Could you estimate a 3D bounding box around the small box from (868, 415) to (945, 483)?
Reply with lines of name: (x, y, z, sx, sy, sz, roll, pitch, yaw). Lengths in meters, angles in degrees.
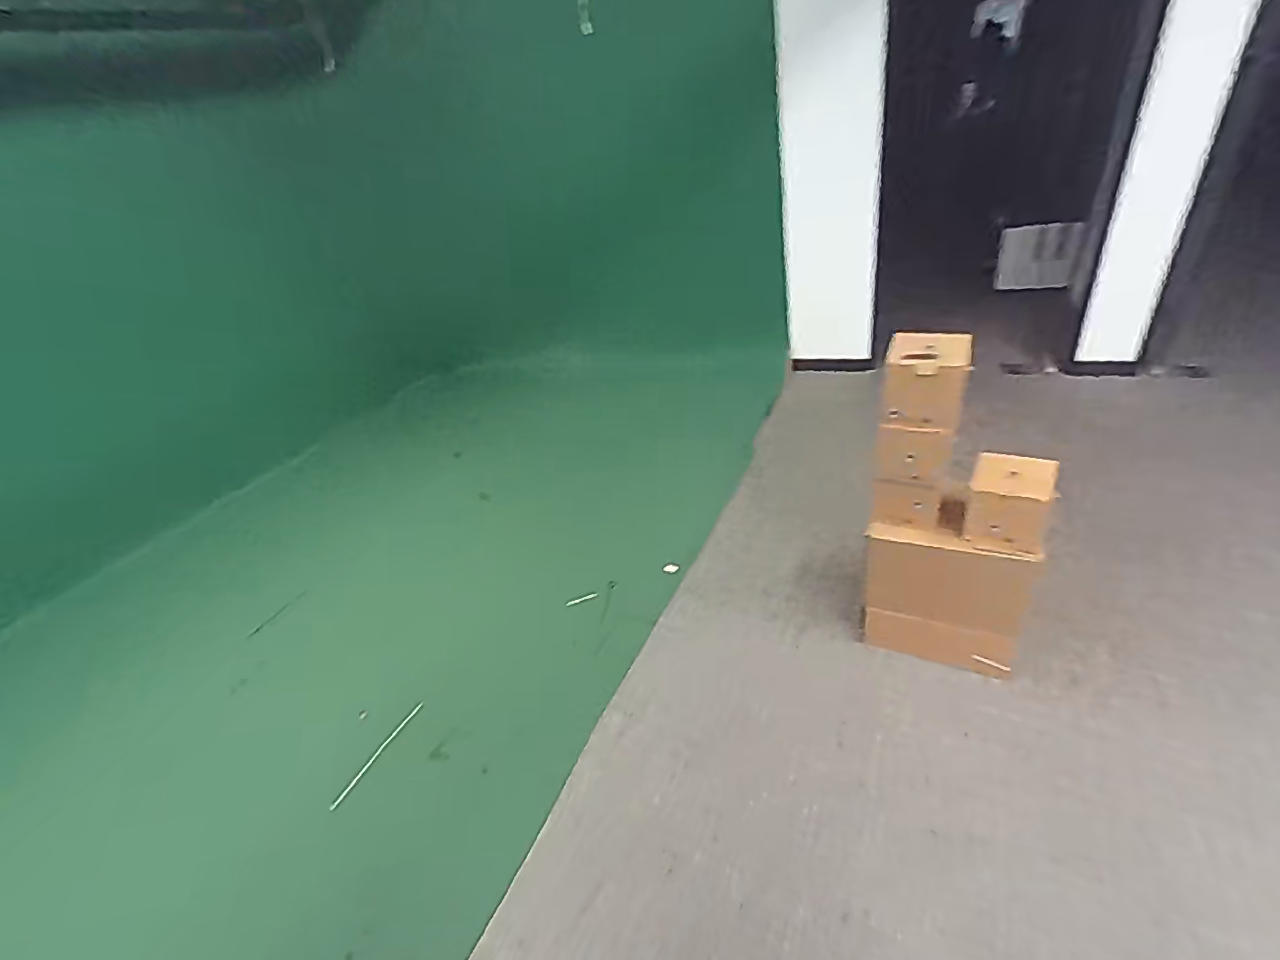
small box: (0.703, -0.111, 1.423, 0.168, 0.176, 0.179, 9, 42, 26)

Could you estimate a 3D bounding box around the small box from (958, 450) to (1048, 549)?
small box: (0.936, 0.047, 1.400, 0.168, 0.176, 0.179, 11, 41, 34)

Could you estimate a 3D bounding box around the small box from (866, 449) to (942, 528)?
small box: (0.740, 0.013, 1.524, 0.168, 0.176, 0.179, 10, 41, 28)

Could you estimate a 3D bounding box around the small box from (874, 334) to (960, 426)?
small box: (0.680, -0.247, 1.332, 0.168, 0.176, 0.179, 9, 40, 26)
